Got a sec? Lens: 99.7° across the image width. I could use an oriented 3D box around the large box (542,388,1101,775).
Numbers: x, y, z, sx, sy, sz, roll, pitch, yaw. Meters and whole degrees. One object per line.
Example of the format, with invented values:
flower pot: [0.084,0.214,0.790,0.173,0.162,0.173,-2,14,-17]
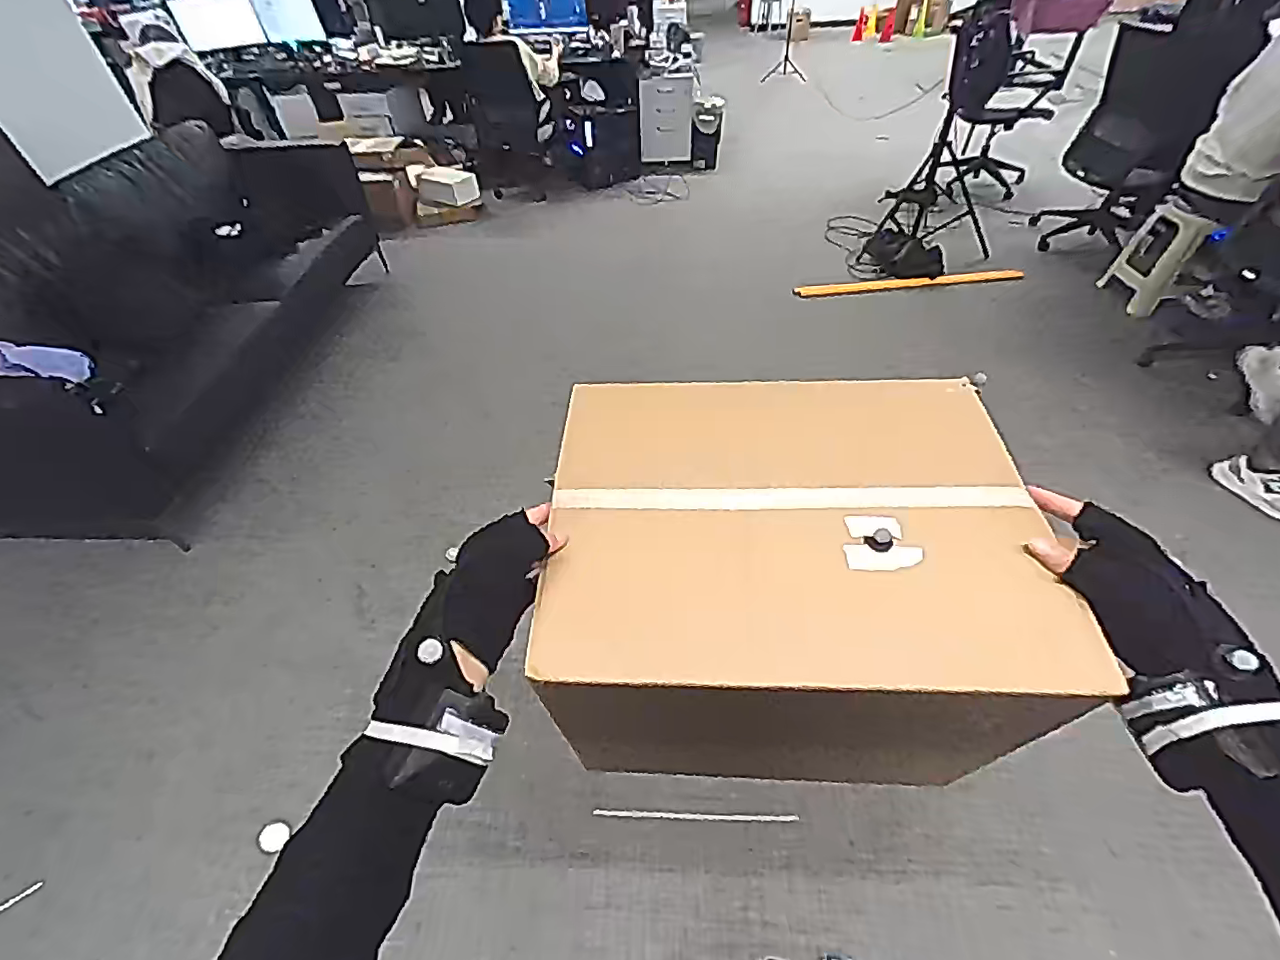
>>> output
large box: [0.135,0.121,0.592,0.408,0.320,0.320,-1,52,4]
